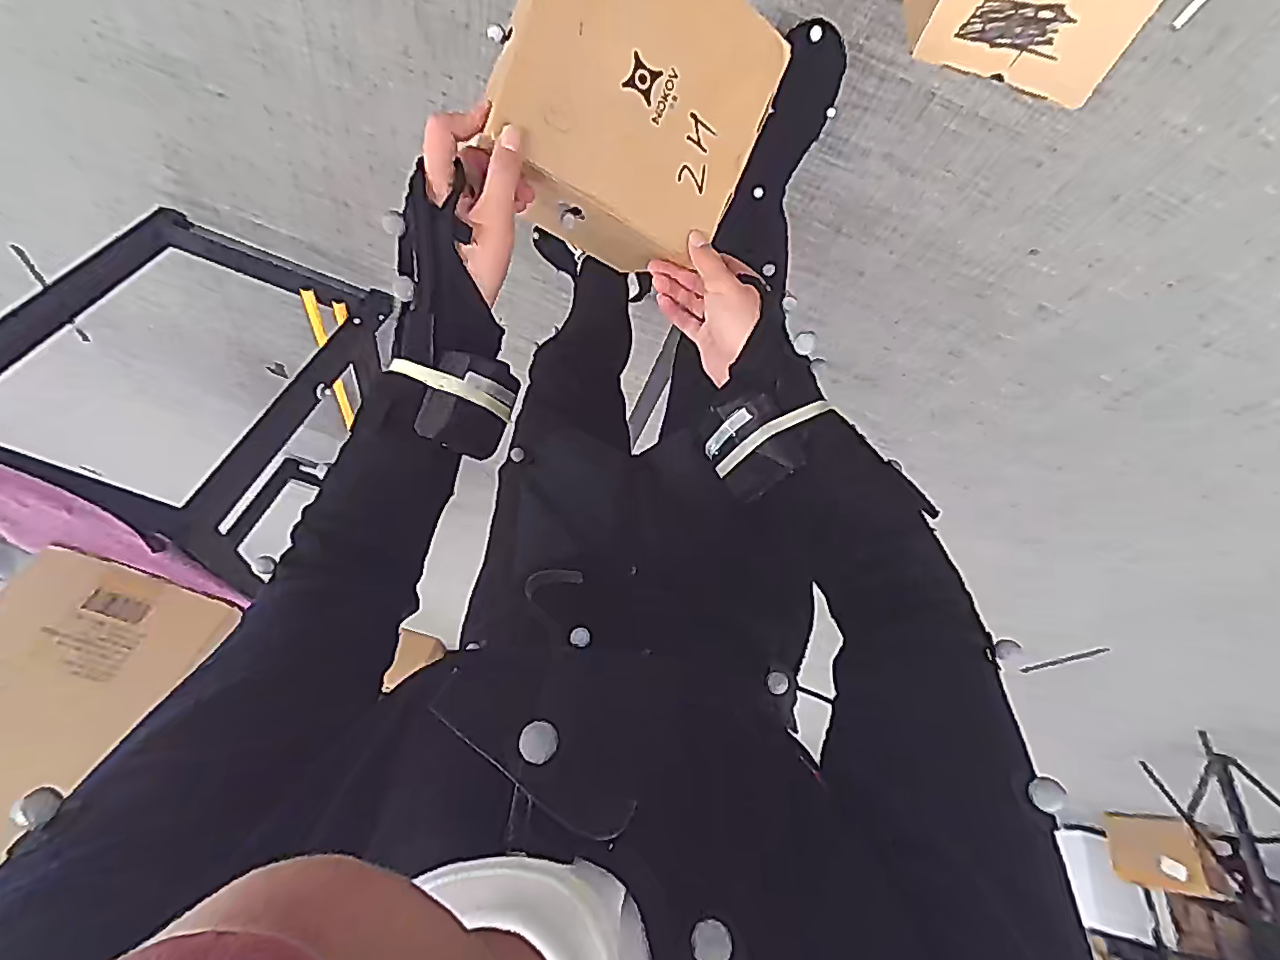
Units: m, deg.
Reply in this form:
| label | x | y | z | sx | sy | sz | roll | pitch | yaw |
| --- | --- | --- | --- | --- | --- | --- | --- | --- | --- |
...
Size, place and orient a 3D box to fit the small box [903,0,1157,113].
| label | x | y | z | sx | sy | sz | roll | pitch | yaw |
| --- | --- | --- | --- | --- | --- | --- | --- | --- | --- |
| small box | 0.356 | -0.474 | 0.474 | 0.168 | 0.176 | 0.179 | 17 | 146 | -2 |

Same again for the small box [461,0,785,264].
| label | x | y | z | sx | sy | sz | roll | pitch | yaw |
| --- | --- | --- | --- | --- | --- | --- | --- | --- | --- |
| small box | -0.028 | -0.286 | 0.433 | 0.179 | 0.168 | 0.176 | 19 | -170 | -29 |
